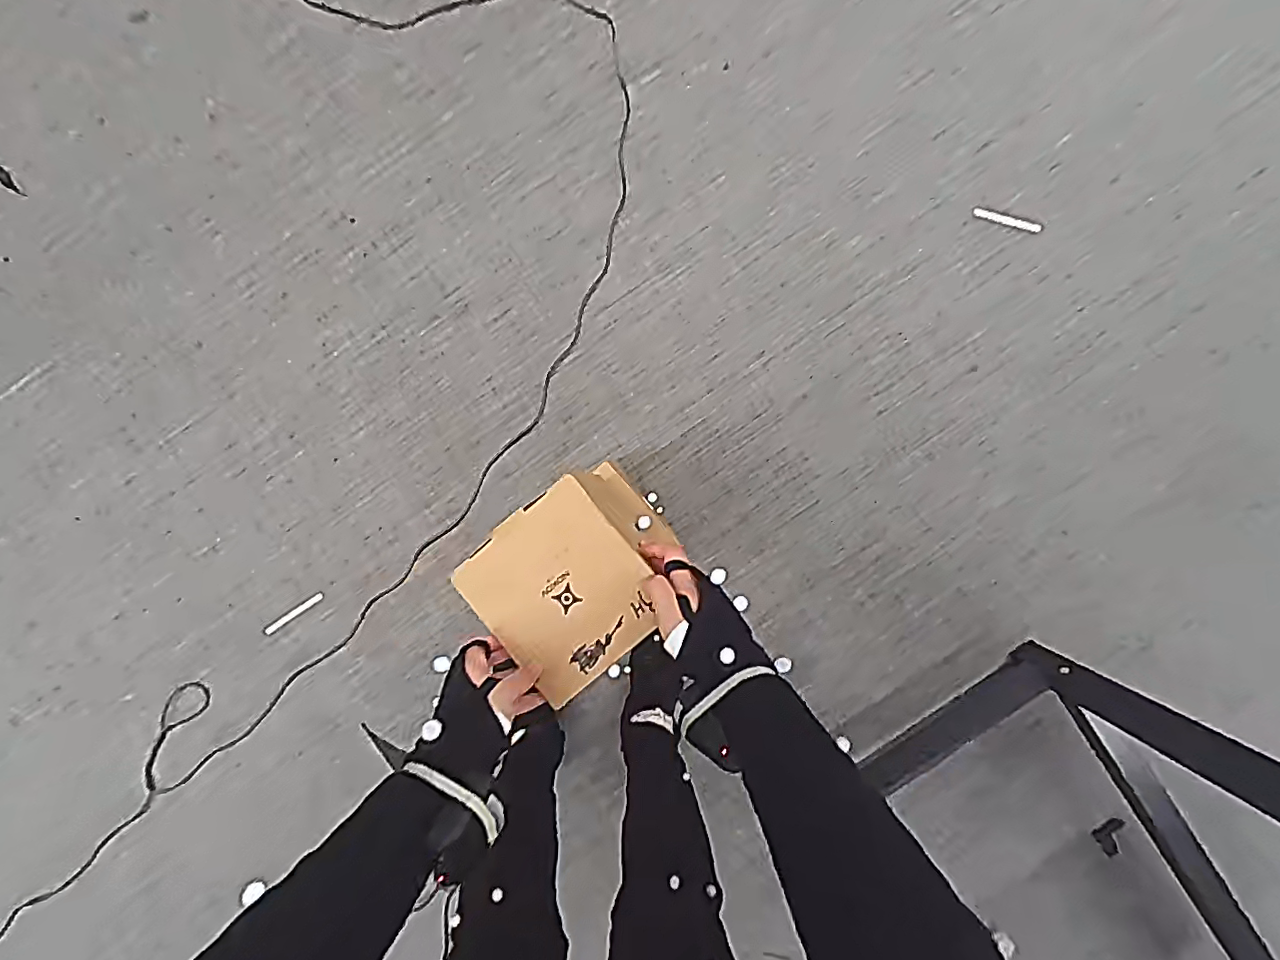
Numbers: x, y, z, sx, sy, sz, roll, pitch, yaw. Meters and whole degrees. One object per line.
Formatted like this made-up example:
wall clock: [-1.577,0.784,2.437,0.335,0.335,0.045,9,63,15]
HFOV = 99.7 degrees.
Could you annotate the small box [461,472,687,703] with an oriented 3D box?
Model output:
small box: [-0.062,0.111,0.620,0.168,0.176,0.179,-41,85,4]

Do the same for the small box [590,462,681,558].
small box: [-0.057,0.089,0.837,0.179,0.176,0.168,-42,93,0]
